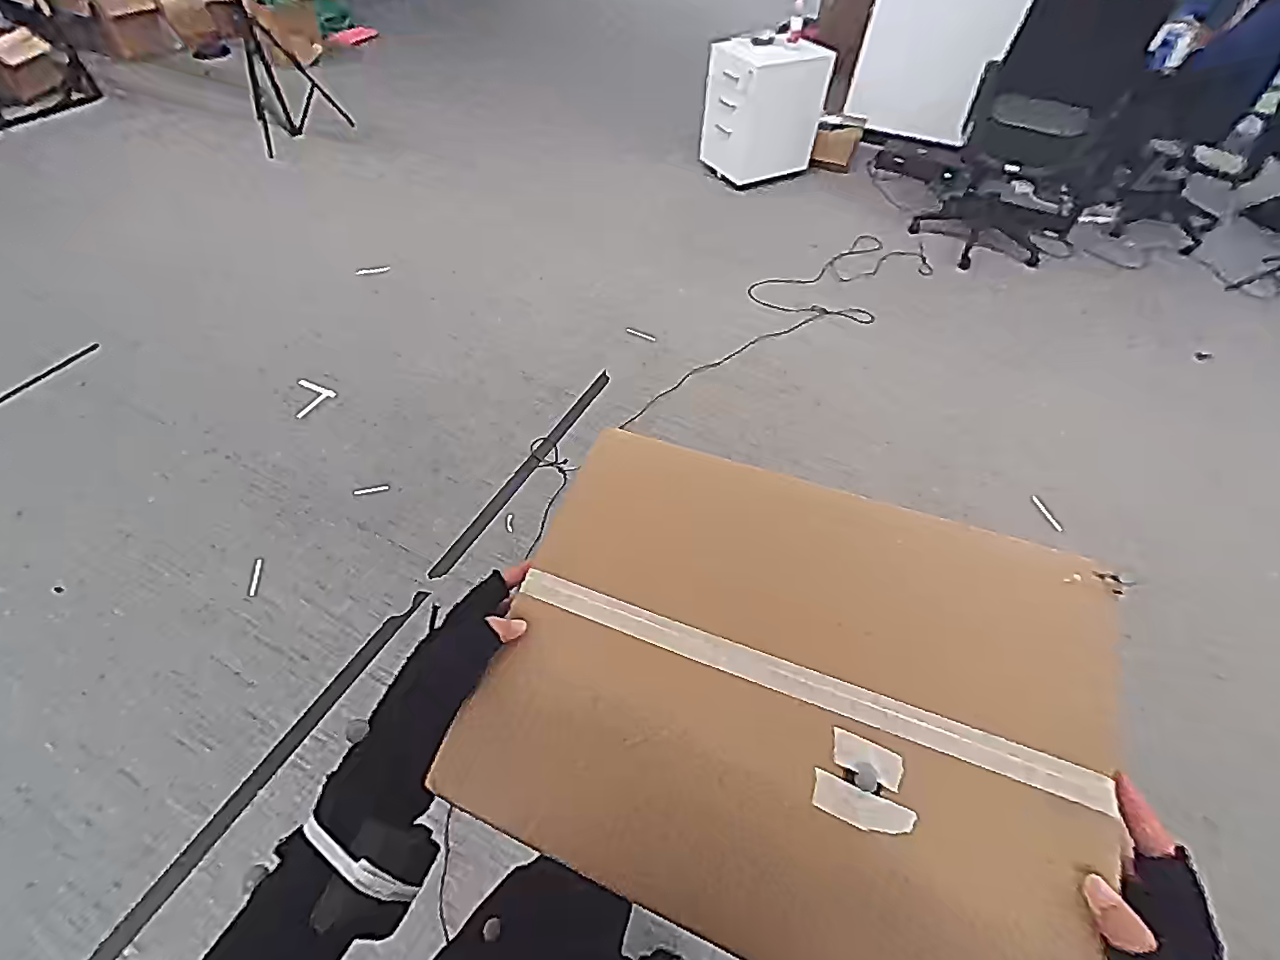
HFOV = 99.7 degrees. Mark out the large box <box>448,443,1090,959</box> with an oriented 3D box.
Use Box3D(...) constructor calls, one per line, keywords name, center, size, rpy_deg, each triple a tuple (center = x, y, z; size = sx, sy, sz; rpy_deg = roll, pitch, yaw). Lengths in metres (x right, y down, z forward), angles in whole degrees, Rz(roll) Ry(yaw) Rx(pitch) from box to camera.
Box3D(name="large box", center=(0.112, 0.213, 0.523), size=(0.408, 0.320, 0.320), rpy_deg=(17, 65, 16))
